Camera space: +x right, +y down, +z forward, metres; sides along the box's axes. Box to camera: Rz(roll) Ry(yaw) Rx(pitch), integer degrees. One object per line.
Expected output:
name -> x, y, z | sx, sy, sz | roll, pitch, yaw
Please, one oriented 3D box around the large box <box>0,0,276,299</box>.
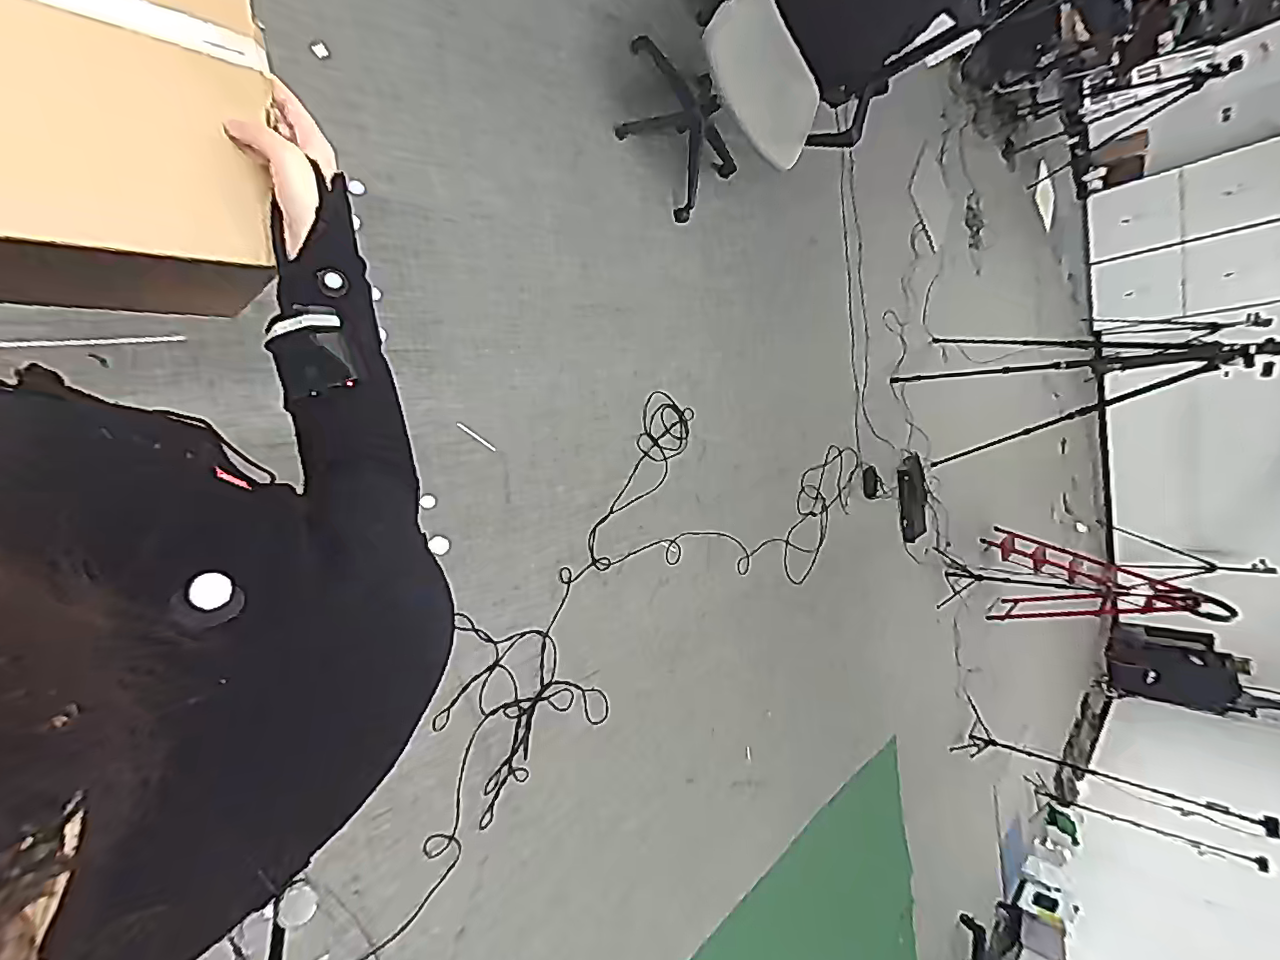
large box -> -0.558, -0.326, 0.413 | 0.408, 0.320, 0.320 | -10, 102, -41
